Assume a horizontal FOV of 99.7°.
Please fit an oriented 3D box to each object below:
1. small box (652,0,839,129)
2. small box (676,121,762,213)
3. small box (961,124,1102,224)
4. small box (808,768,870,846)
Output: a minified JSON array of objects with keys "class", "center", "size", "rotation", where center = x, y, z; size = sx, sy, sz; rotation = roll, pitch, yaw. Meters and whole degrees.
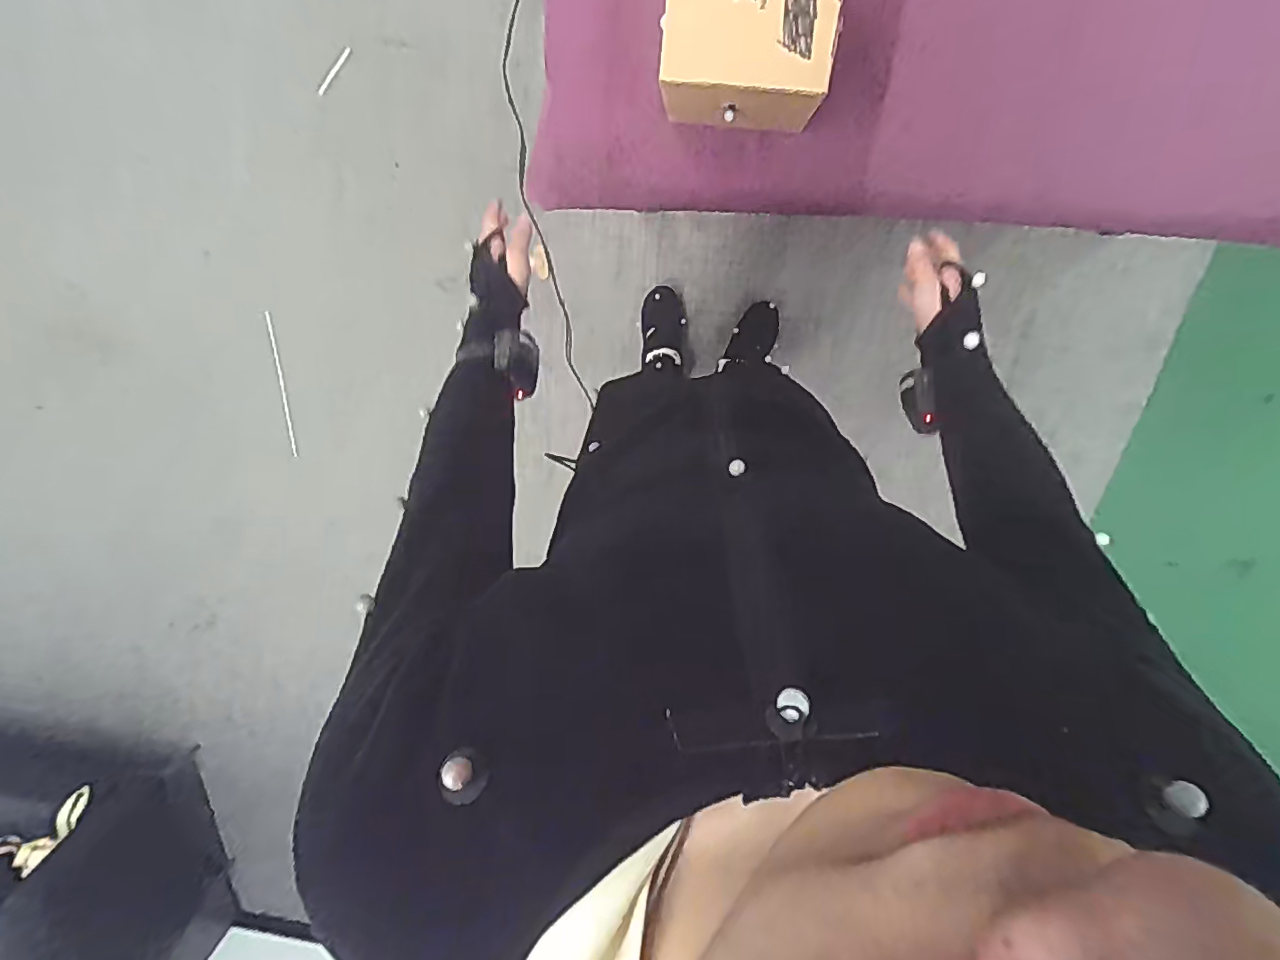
[{"class":"small box","center":[0.116,-0.504,0.595],"size":[0.179,0.176,0.168],"rotation":[9,111,6]},{"class":"small box","center":[0.186,-0.735,1.286],"size":[0.179,0.176,0.168],"rotation":[6,112,6]},{"class":"small box","center":[0.856,-0.674,1.209],"size":[0.179,0.176,0.168],"rotation":[9,113,5]},{"class":"small box","center":[0.719,1.191,1.979],"size":[0.168,0.176,0.179],"rotation":[6,113,6]}]
